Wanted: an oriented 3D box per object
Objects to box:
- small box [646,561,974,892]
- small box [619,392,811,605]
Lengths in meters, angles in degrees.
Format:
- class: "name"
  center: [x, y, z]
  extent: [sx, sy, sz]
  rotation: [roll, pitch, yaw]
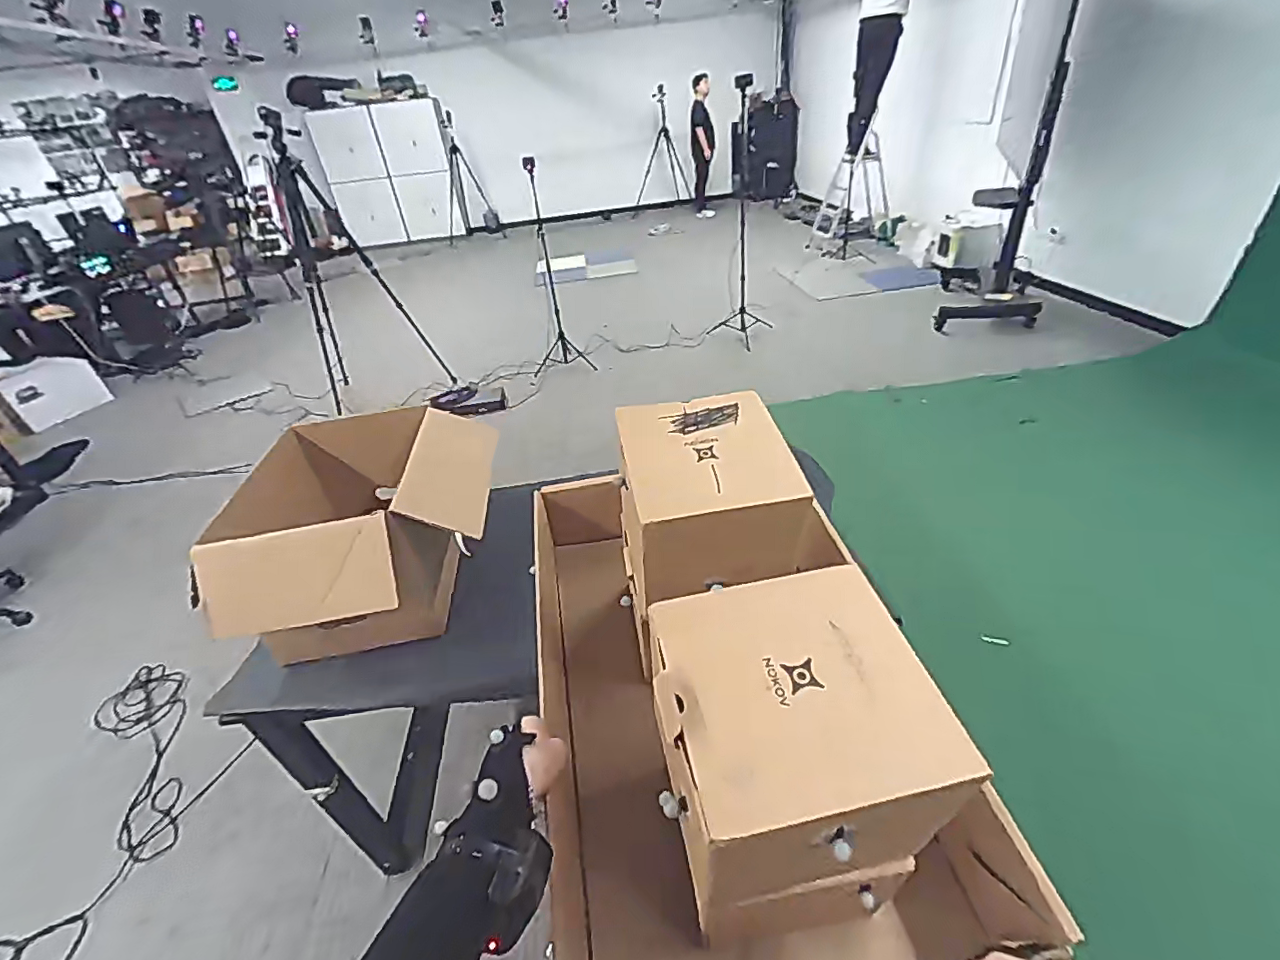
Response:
- class: "small box"
  center: [0.109, 0.192, 0.427]
  extent: [0.179, 0.176, 0.168]
  rotation: [-10, 42, -7]
- class: "small box"
  center: [0.070, 0.026, 0.609]
  extent: [0.168, 0.176, 0.179]
  rotation: [-9, 45, -5]
